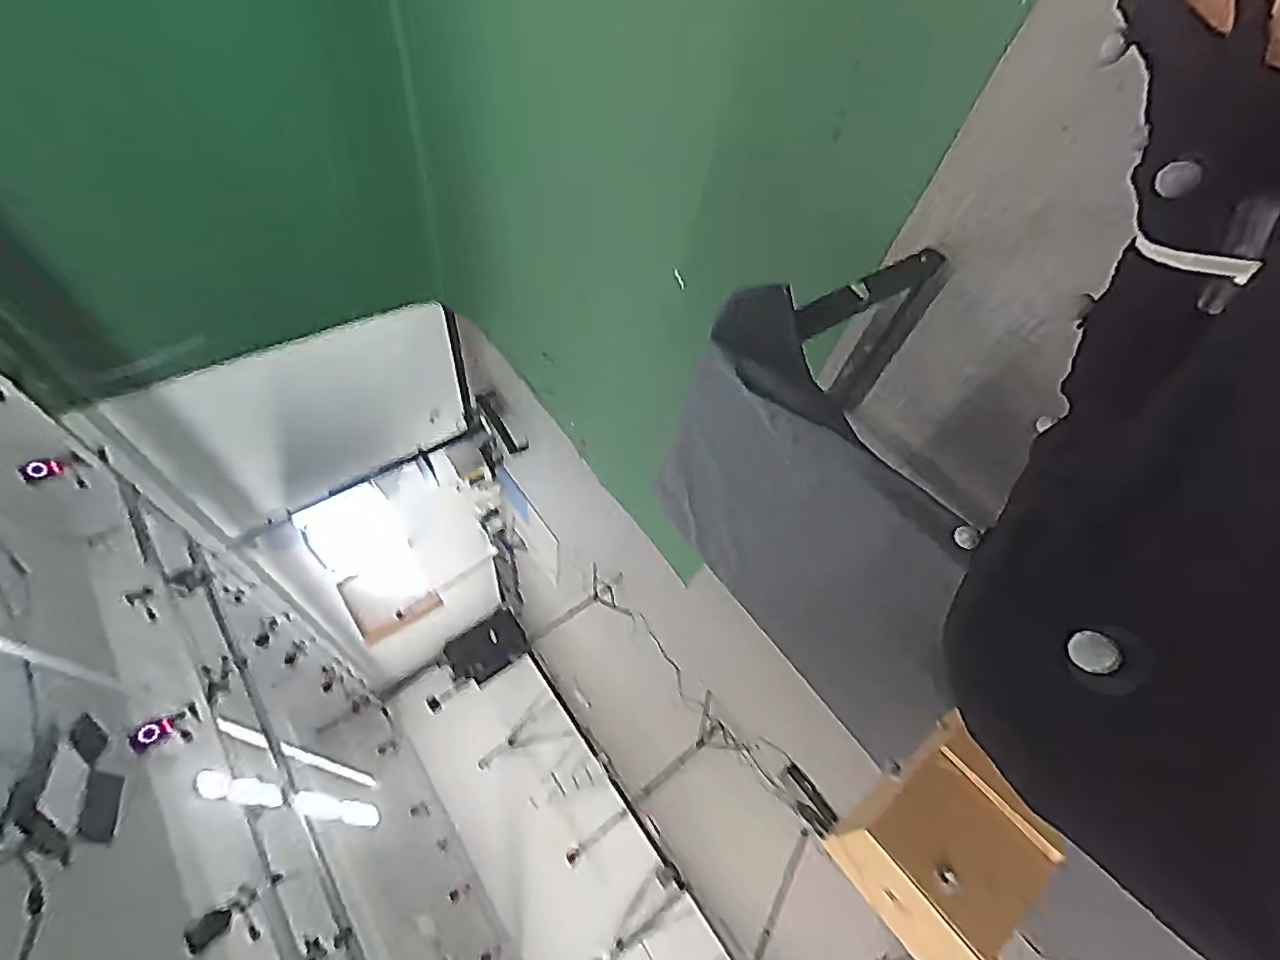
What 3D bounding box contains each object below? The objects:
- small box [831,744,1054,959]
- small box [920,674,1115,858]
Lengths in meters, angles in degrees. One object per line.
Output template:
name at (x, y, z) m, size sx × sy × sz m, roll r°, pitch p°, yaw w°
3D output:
small box at (0.406, 0.503, 0.737) m, size 0.179 × 0.176 × 0.168 m, roll 47°, pitch 150°, yaw 27°
small box at (0.536, 0.423, 0.795) m, size 0.168 × 0.176 × 0.179 m, roll 43°, pitch 149°, yaw 30°
